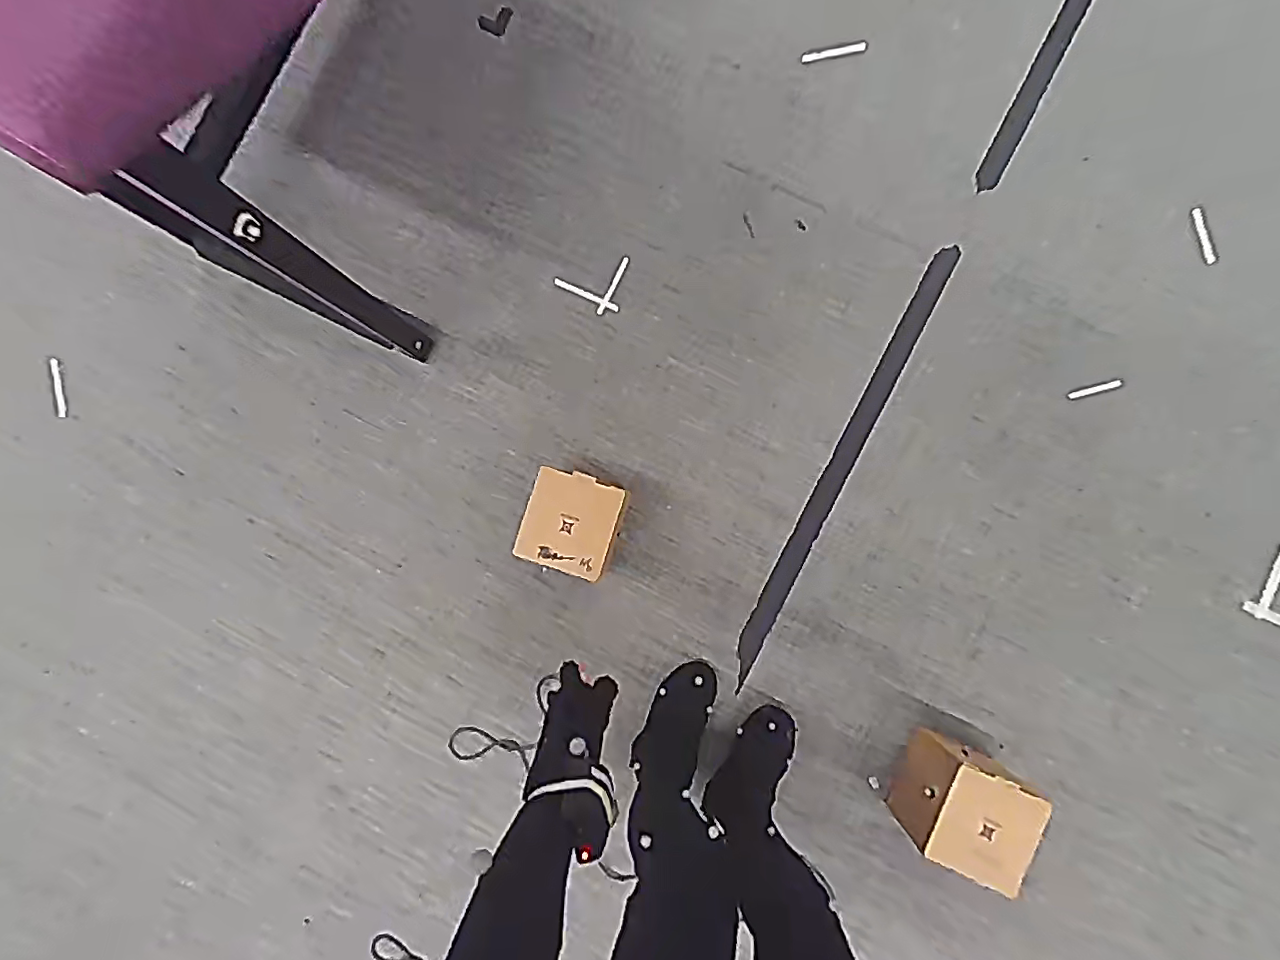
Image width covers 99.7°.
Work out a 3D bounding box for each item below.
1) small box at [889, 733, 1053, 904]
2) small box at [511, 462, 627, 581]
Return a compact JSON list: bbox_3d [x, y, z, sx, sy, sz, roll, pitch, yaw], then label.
[{"bbox_3d":[0.586,0.598,0.984,0.168,0.176,0.179,24,88,5],"label":"small box"},{"bbox_3d":[-0.127,0.080,1.046,0.168,0.176,0.179,18,86,3],"label":"small box"}]
